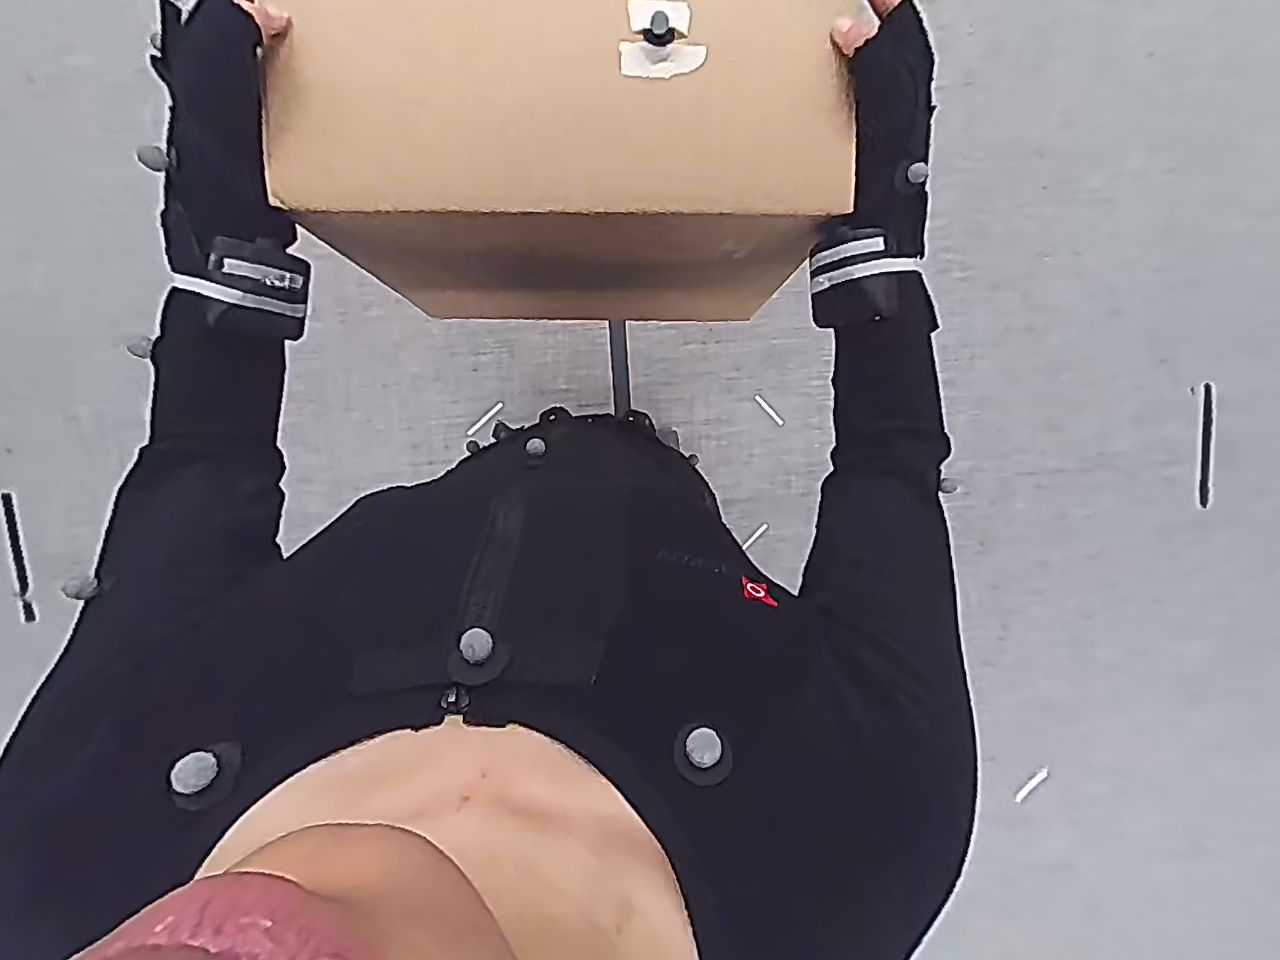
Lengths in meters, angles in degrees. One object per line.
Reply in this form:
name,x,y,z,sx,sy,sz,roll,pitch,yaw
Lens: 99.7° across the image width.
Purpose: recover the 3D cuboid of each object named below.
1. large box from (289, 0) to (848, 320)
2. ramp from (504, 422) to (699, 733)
large box,-0.055,-0.353,0.534,0.408,0.320,0.320,-1,93,-2
ramp,-0.086,0.335,1.626,0.509,0.206,0.991,-7,98,-2
